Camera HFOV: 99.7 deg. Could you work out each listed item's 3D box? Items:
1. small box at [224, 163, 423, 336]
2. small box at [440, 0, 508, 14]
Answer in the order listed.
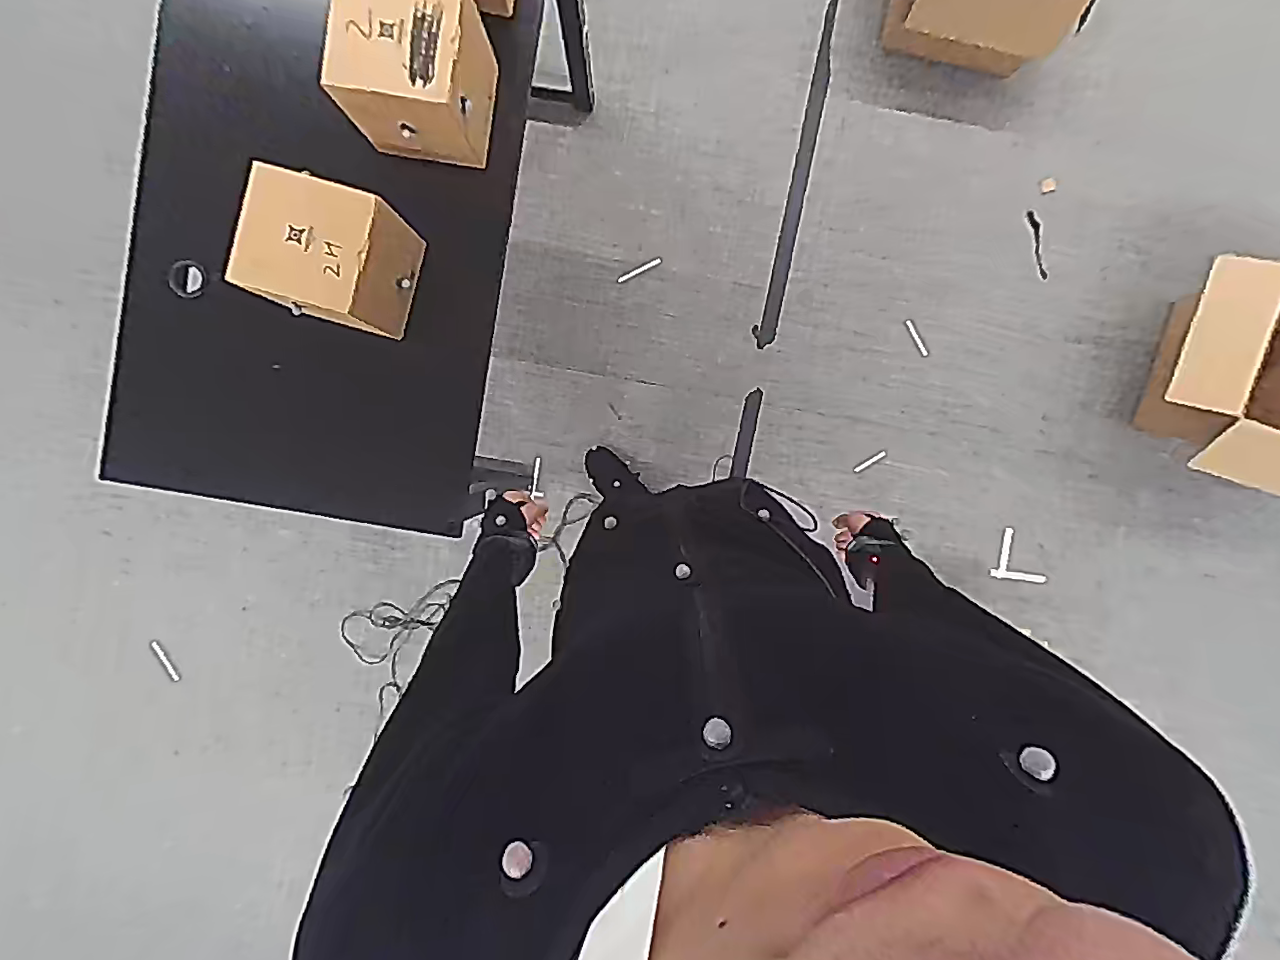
[{"bbox_3d":[-0.456,-0.326,0.803,0.179,0.176,0.168,15,93,-1],"label":"small box"},{"bbox_3d":[-0.275,-0.839,0.777,0.168,0.176,0.179,12,94,0],"label":"small box"}]
